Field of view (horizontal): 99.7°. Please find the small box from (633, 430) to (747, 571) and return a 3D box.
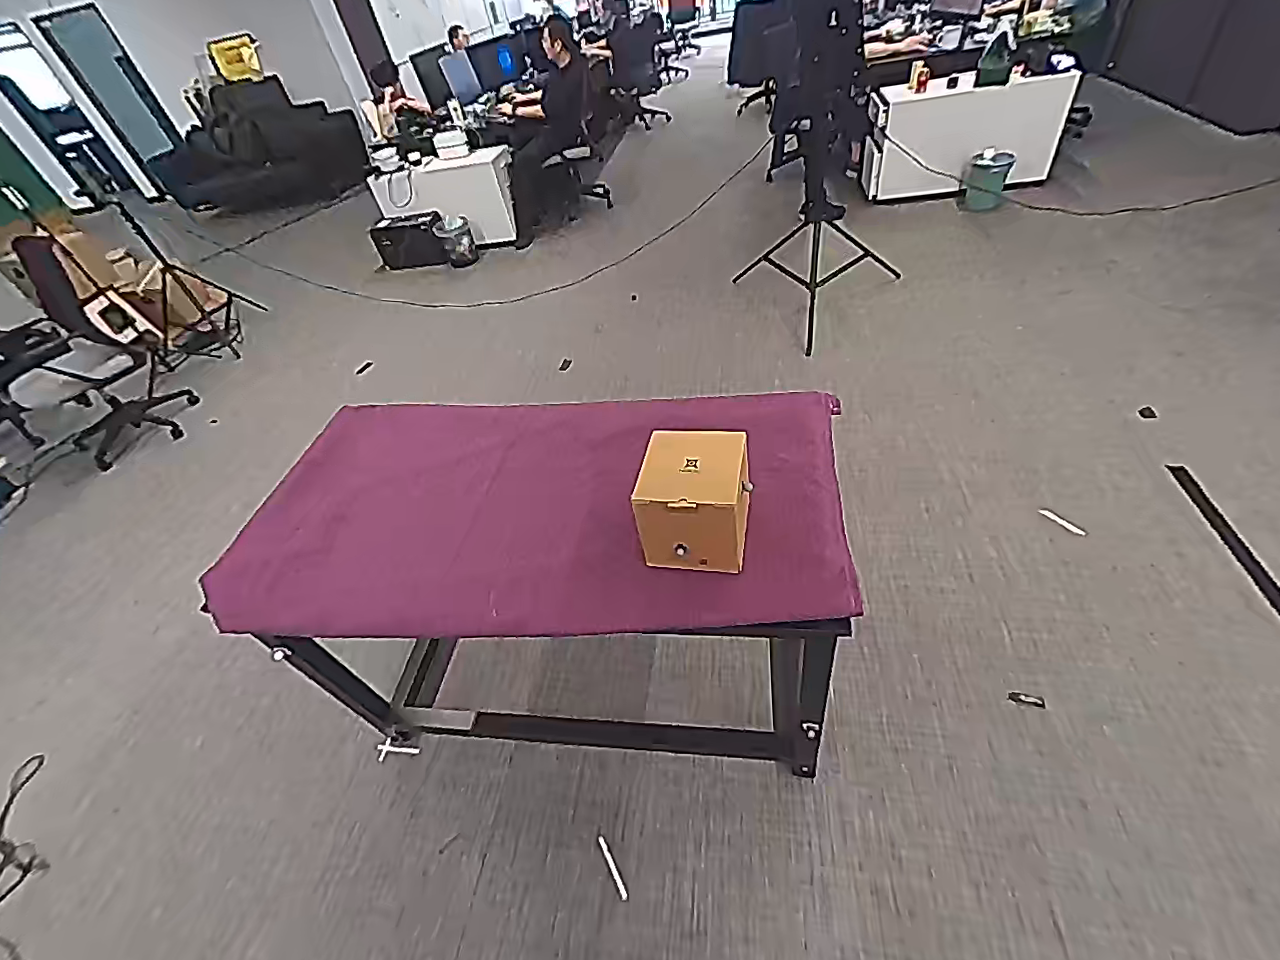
[{"bbox_3d":[0.096,0.033,0.938,0.168,0.176,0.179,2,45,15],"label":"small box"}]
